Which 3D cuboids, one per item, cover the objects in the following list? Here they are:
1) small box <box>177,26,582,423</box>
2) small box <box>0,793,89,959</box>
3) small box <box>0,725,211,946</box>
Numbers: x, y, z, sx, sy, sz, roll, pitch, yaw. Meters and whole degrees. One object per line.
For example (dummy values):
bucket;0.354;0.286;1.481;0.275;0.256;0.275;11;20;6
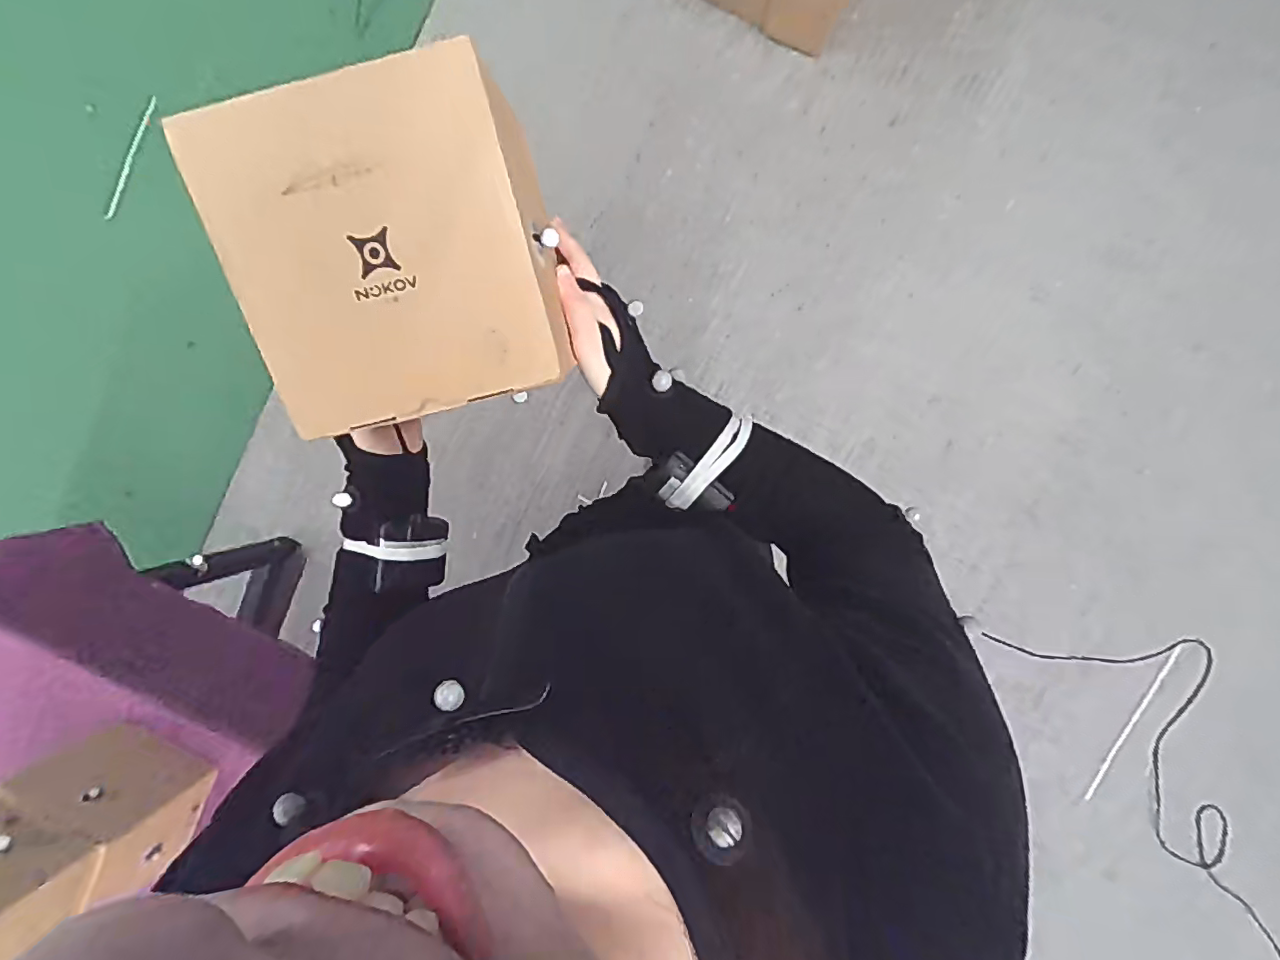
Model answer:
small box;-0.141;-0.154;0.373;0.168;0.176;0.179;-12;107;3
small box;-0.792;0.505;0.608;0.168;0.176;0.179;23;95;3
small box;-0.775;0.487;0.771;0.179;0.176;0.168;26;95;3
